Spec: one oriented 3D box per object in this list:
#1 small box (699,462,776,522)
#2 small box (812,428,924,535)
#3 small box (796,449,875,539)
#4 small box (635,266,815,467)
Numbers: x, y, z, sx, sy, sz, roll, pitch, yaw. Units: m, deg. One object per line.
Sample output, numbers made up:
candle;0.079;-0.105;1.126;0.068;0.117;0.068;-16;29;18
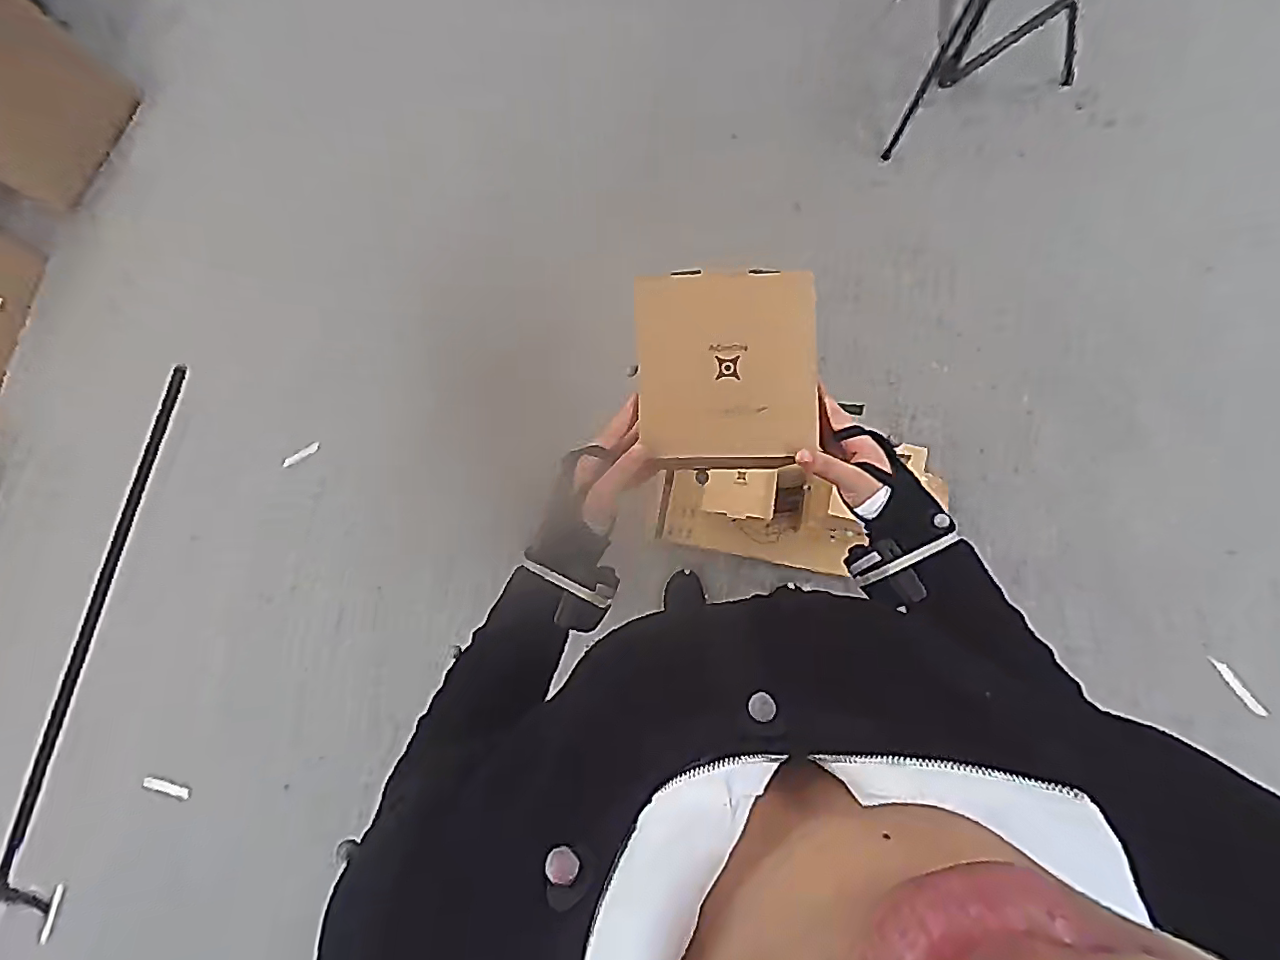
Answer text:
small box;0.240;0.004;1.343;0.168;0.176;0.179;8;81;7
small box;0.476;0.010;1.150;0.168;0.176;0.179;13;82;9
small box;0.484;0.040;1.312;0.168;0.176;0.179;10;81;8
small box;0.078;-0.107;0.576;0.168;0.176;0.179;-2;88;1
